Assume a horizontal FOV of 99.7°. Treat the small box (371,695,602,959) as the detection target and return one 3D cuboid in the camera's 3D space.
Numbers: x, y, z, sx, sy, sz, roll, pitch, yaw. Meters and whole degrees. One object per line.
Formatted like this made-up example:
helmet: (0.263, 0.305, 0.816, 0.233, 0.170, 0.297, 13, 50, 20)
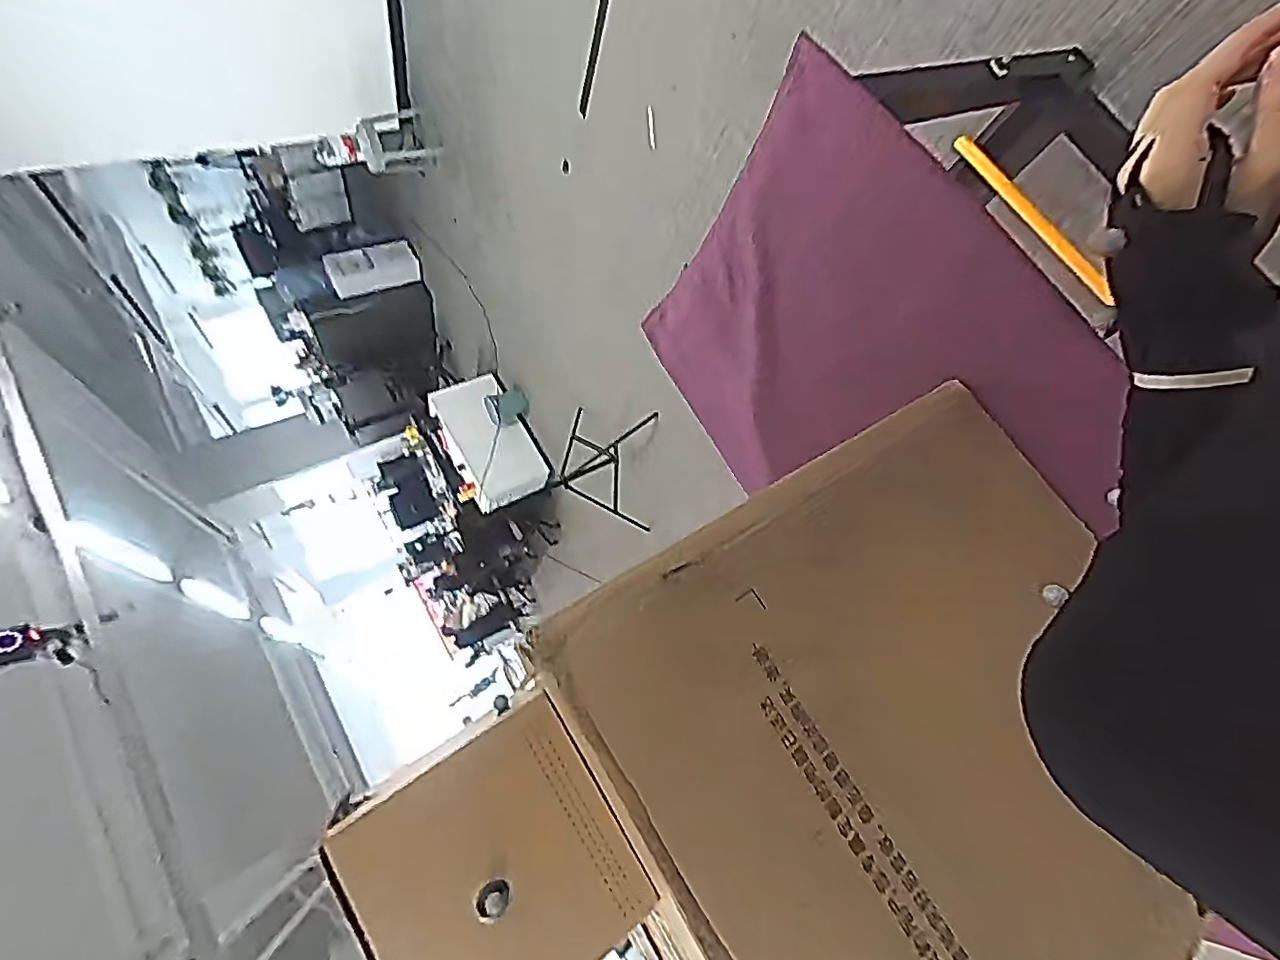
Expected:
small box: (-0.162, 0.365, 0.597, 0.179, 0.176, 0.168, 57, 154, 12)
